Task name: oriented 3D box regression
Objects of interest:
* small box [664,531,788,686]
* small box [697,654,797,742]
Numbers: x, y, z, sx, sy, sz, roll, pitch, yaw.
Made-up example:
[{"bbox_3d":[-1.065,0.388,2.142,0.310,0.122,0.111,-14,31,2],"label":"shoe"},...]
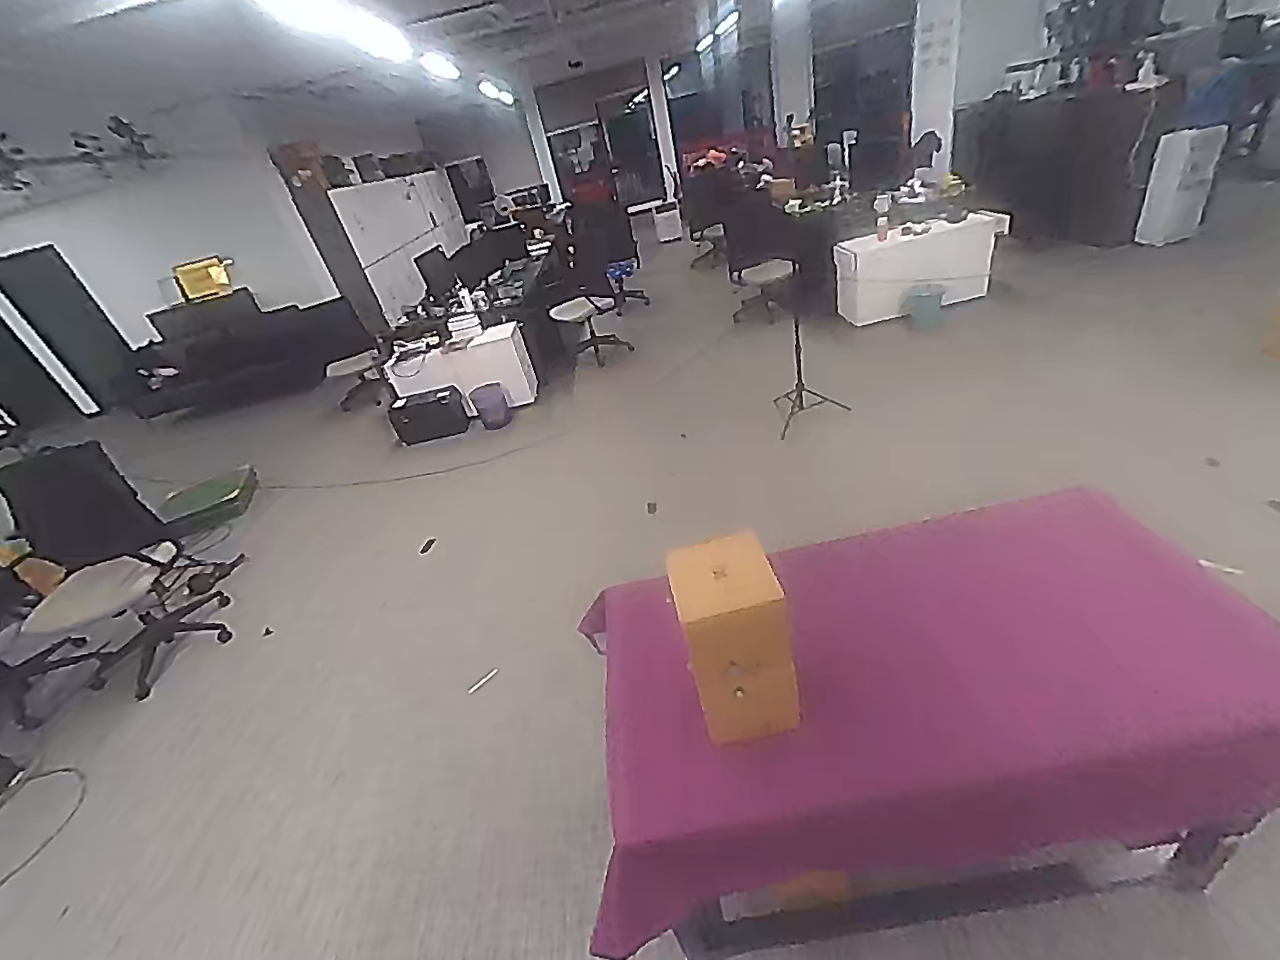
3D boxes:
[{"bbox_3d":[0.146,0.218,0.929,0.168,0.176,0.179,-14,32,1],"label":"small box"},{"bbox_3d":[0.186,0.352,1.014,0.168,0.176,0.179,-14,32,2],"label":"small box"}]
